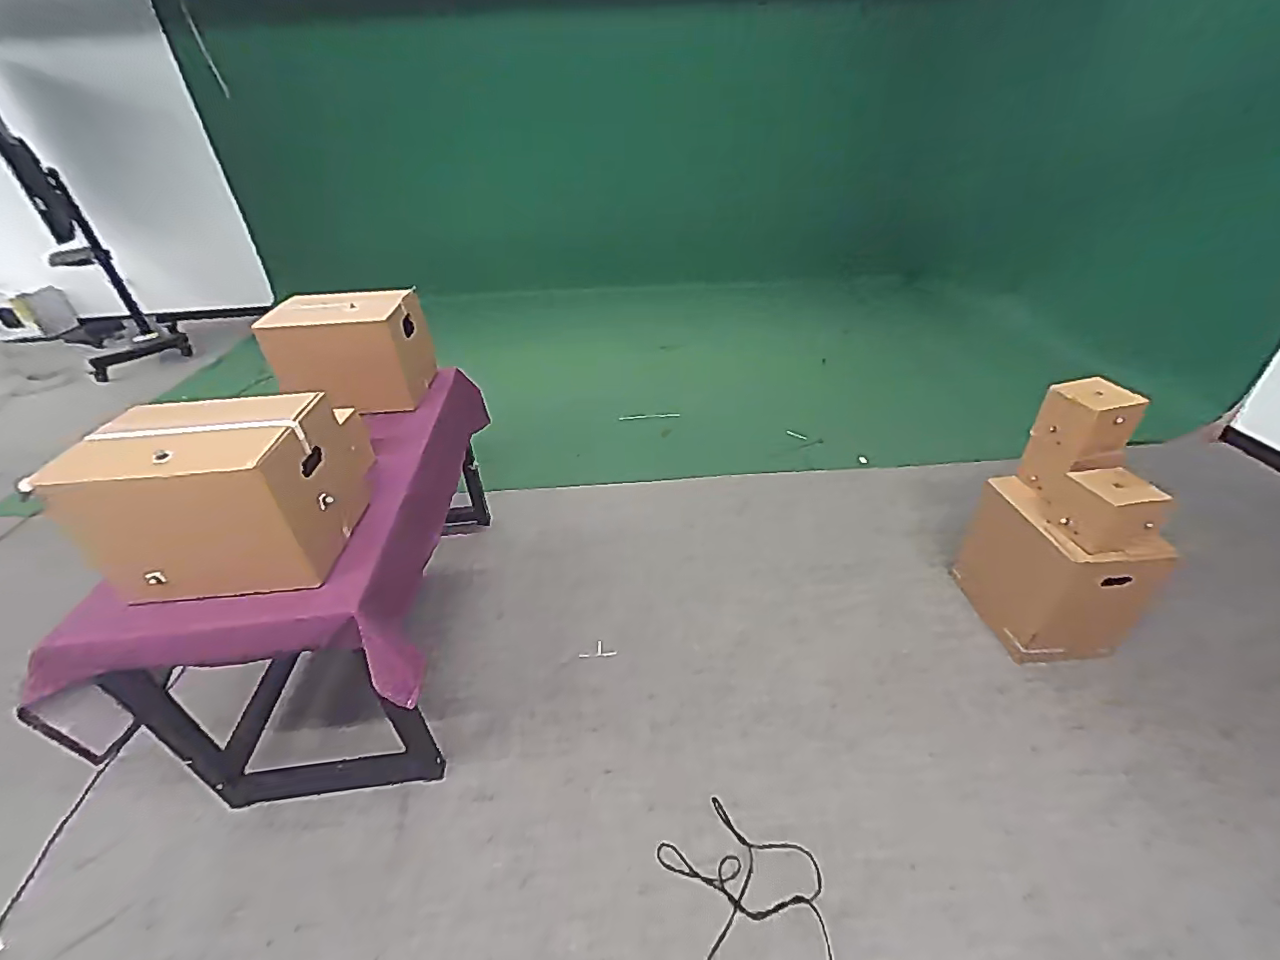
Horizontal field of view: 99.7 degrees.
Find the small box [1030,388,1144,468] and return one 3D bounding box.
[{"bbox_3d":[1.334,-0.157,1.630,0.179,0.176,0.168,-10,37,-8],"label":"small box"}]

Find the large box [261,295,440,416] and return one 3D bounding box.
[{"bbox_3d":[-0.942,-0.424,1.823,0.408,0.320,0.320,-3,35,-2],"label":"large box"}]
